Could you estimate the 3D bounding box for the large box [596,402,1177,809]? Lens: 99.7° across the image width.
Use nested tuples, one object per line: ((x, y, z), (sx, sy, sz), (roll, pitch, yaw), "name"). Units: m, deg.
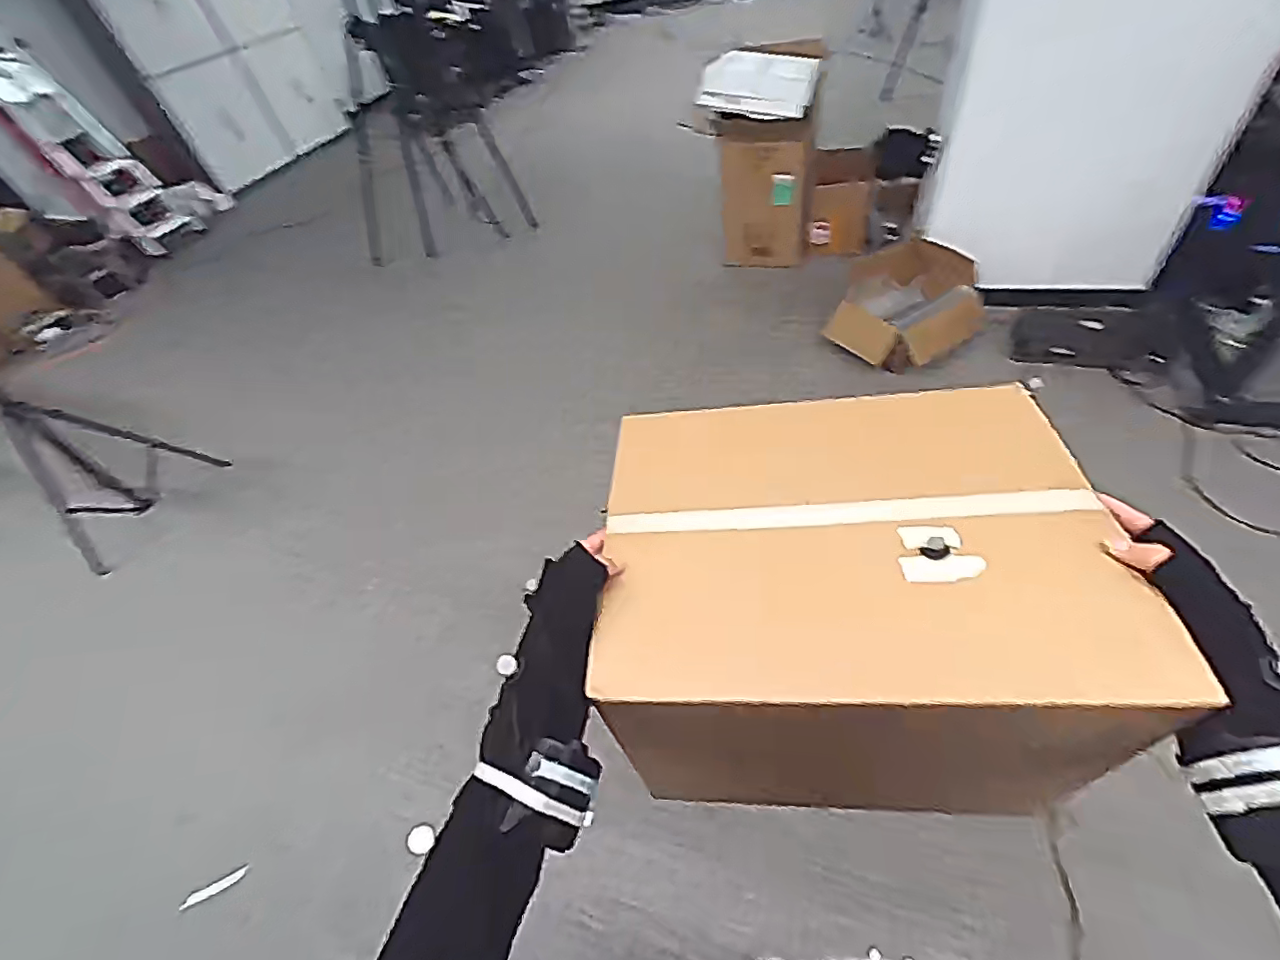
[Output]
((0.190, 0.147, 0.590), (0.408, 0.320, 0.320), (-4, 47, 10), "large box")
